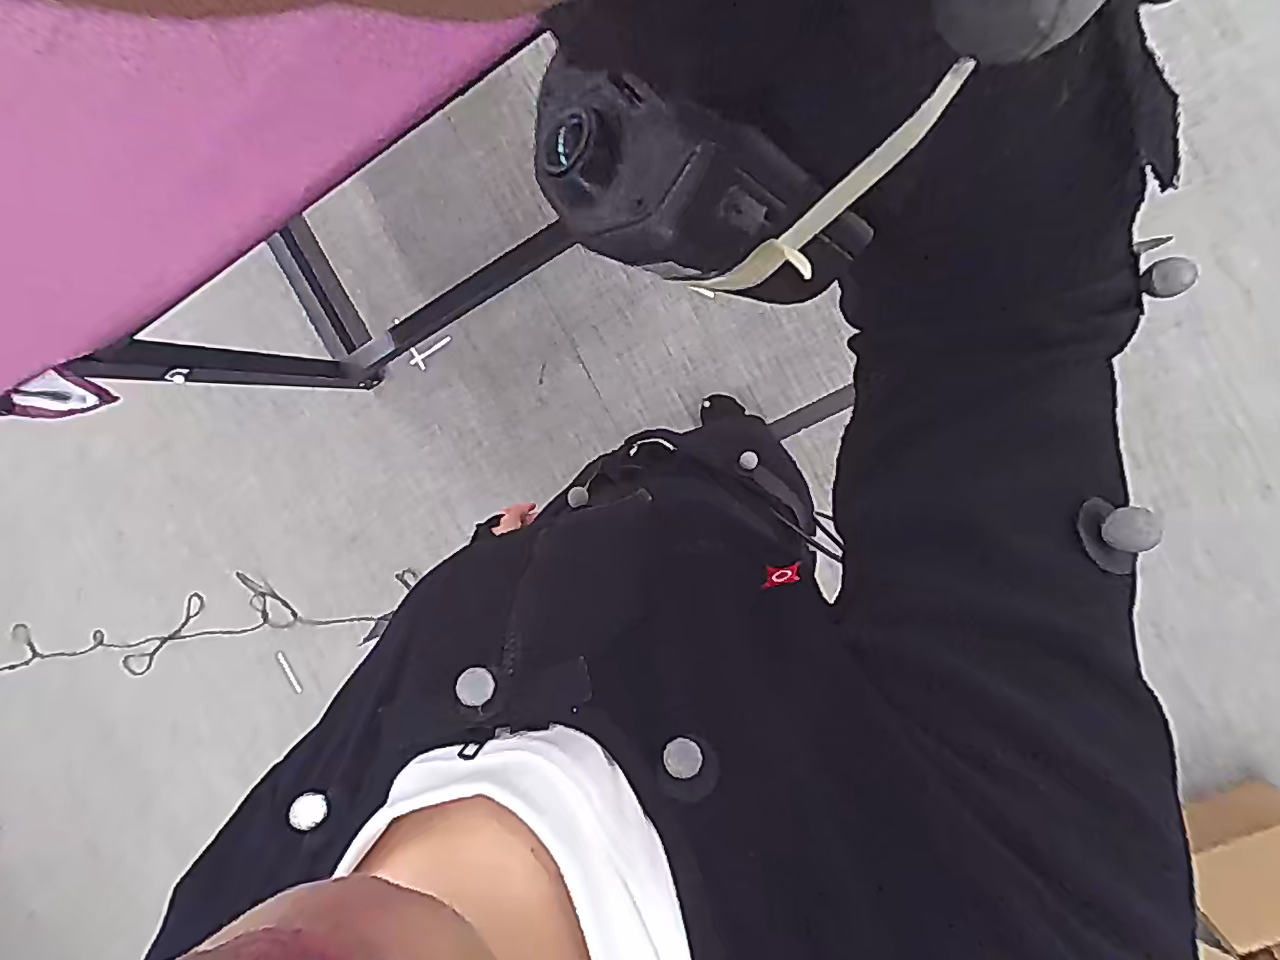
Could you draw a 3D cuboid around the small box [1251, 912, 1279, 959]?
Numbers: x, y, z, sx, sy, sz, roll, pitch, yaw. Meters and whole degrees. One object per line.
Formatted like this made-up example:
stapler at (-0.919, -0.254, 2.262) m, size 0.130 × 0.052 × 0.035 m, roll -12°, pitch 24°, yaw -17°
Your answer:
small box at (1.338, 0.949, 1.011) m, size 0.168 × 0.176 × 0.179 m, roll -29°, pitch 91°, yaw 11°
